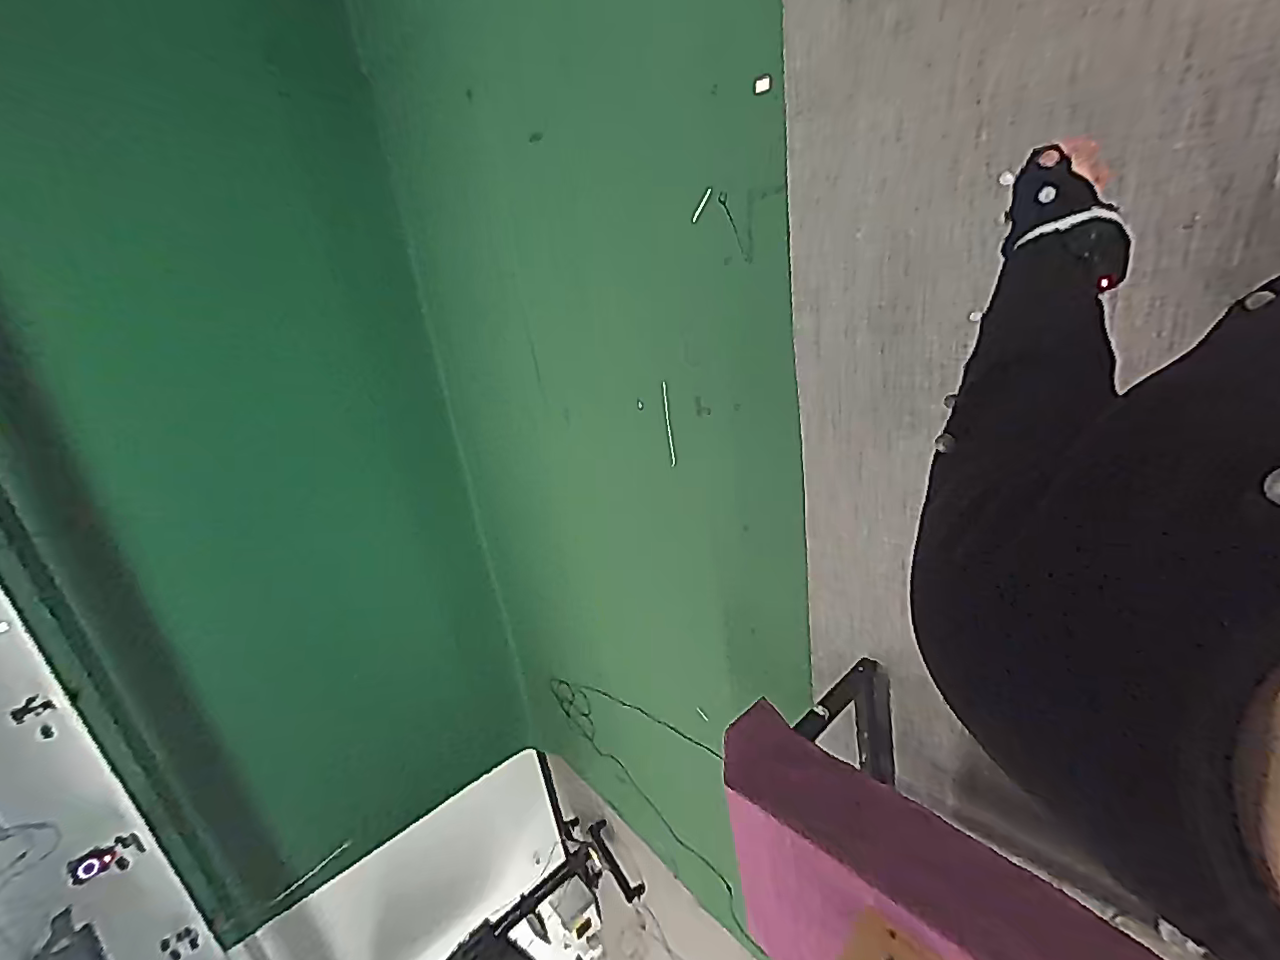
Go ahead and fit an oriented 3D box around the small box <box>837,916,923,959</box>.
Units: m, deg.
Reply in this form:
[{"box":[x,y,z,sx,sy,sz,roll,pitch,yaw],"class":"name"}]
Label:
[{"box":[0.503,1.064,1.110,0.168,0.176,0.179,13,118,50],"class":"small box"}]
